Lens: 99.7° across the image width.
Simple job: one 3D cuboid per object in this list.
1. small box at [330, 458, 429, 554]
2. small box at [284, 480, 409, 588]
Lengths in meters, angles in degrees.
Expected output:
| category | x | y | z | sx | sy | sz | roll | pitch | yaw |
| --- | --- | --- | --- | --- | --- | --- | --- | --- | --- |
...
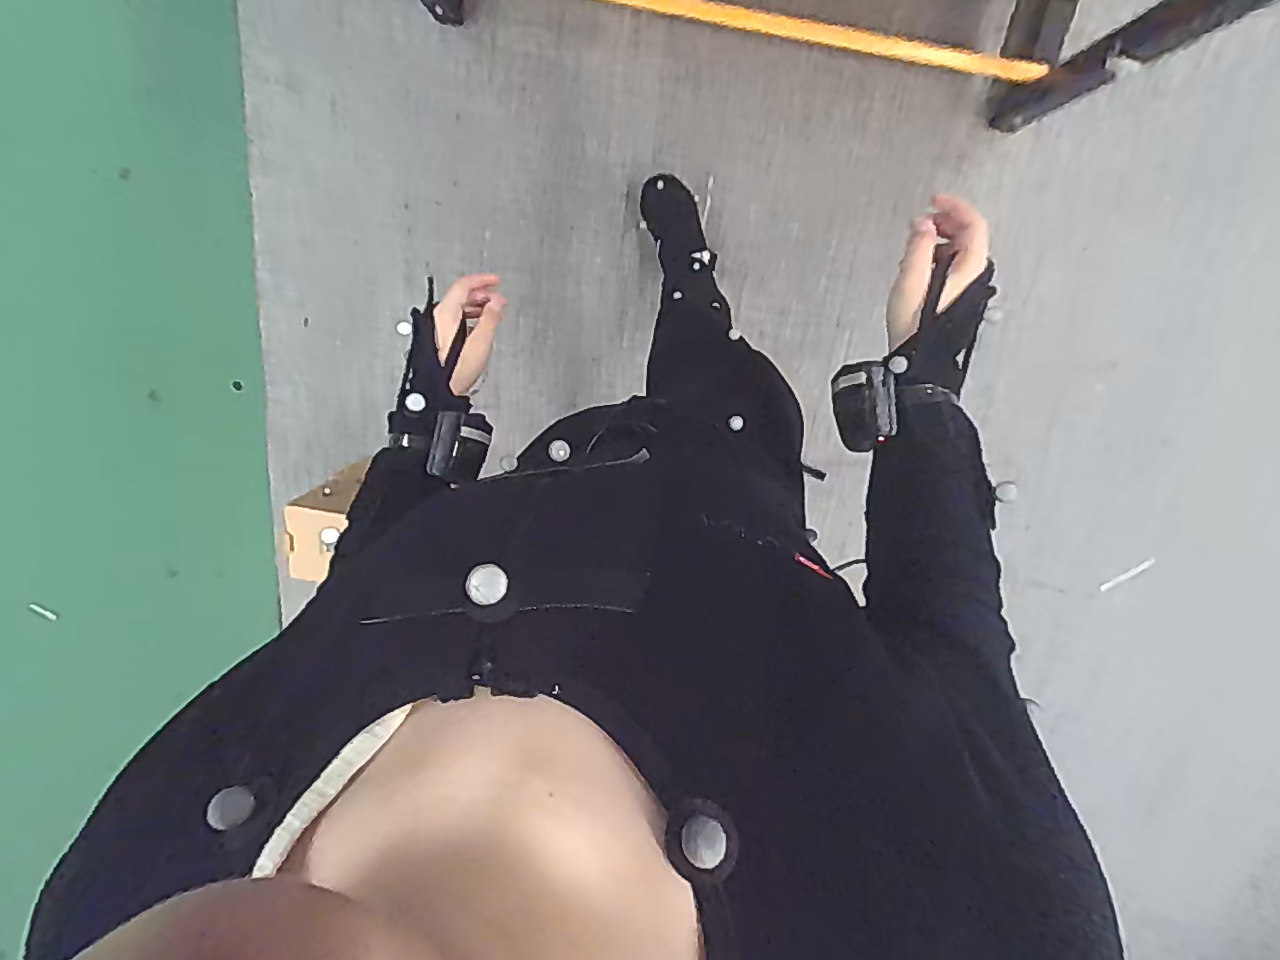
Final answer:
| category | x | y | z | sx | sy | sz | roll | pitch | yaw |
| --- | --- | --- | --- | --- | --- | --- | --- | --- | --- |
| small box | -0.627 | 0.059 | 1.313 | 0.168 | 0.176 | 0.179 | 11 | 109 | -1 |
| small box | -0.618 | 0.107 | 1.157 | 0.179 | 0.176 | 0.168 | 8 | 110 | -1 |
